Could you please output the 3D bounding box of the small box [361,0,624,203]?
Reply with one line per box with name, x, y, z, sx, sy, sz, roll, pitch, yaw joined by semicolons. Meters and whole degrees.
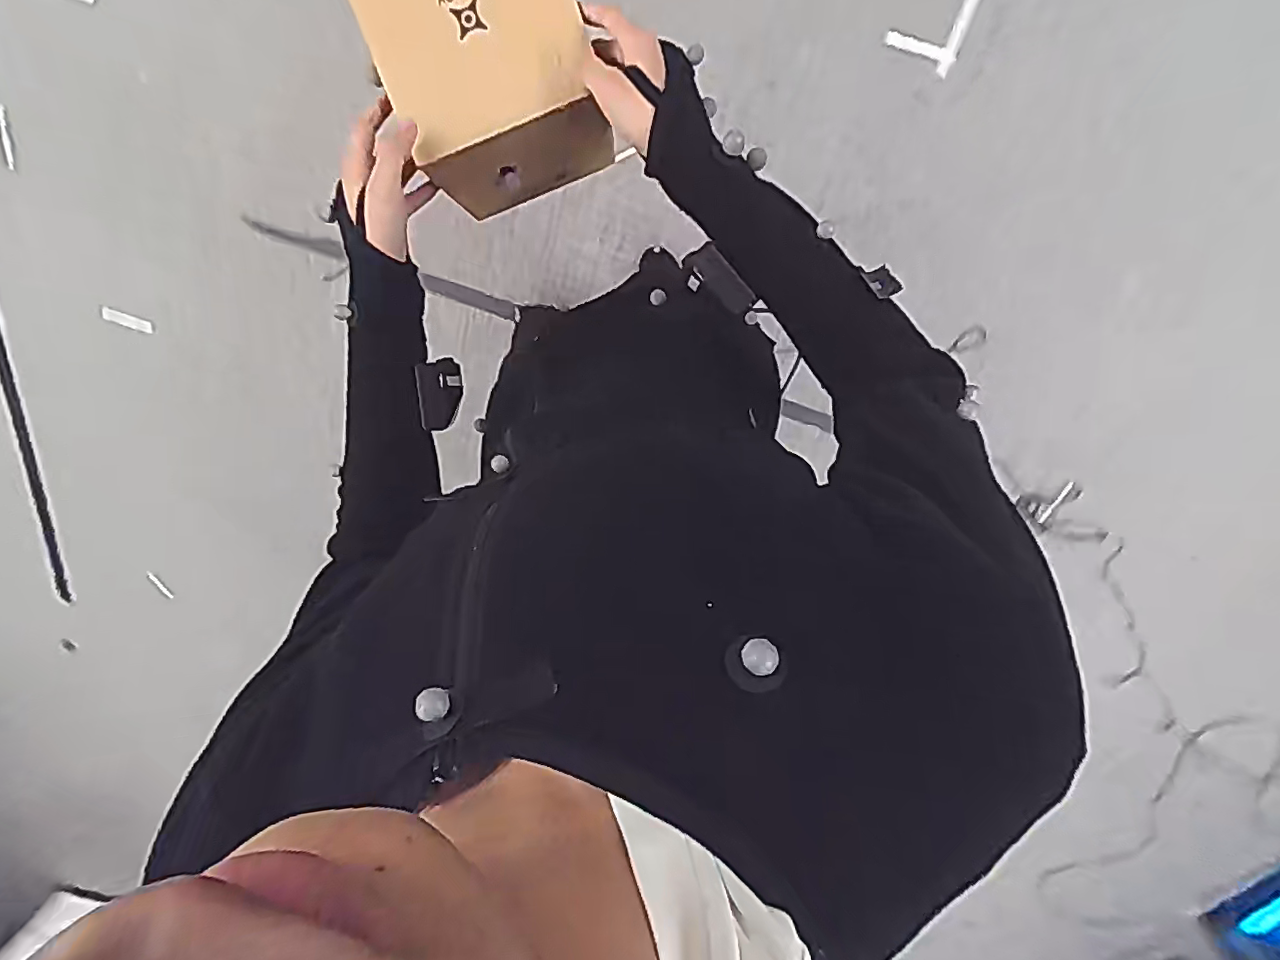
small box;-0.118;-0.370;0.477;0.168;0.176;0.179;-20;100;5
